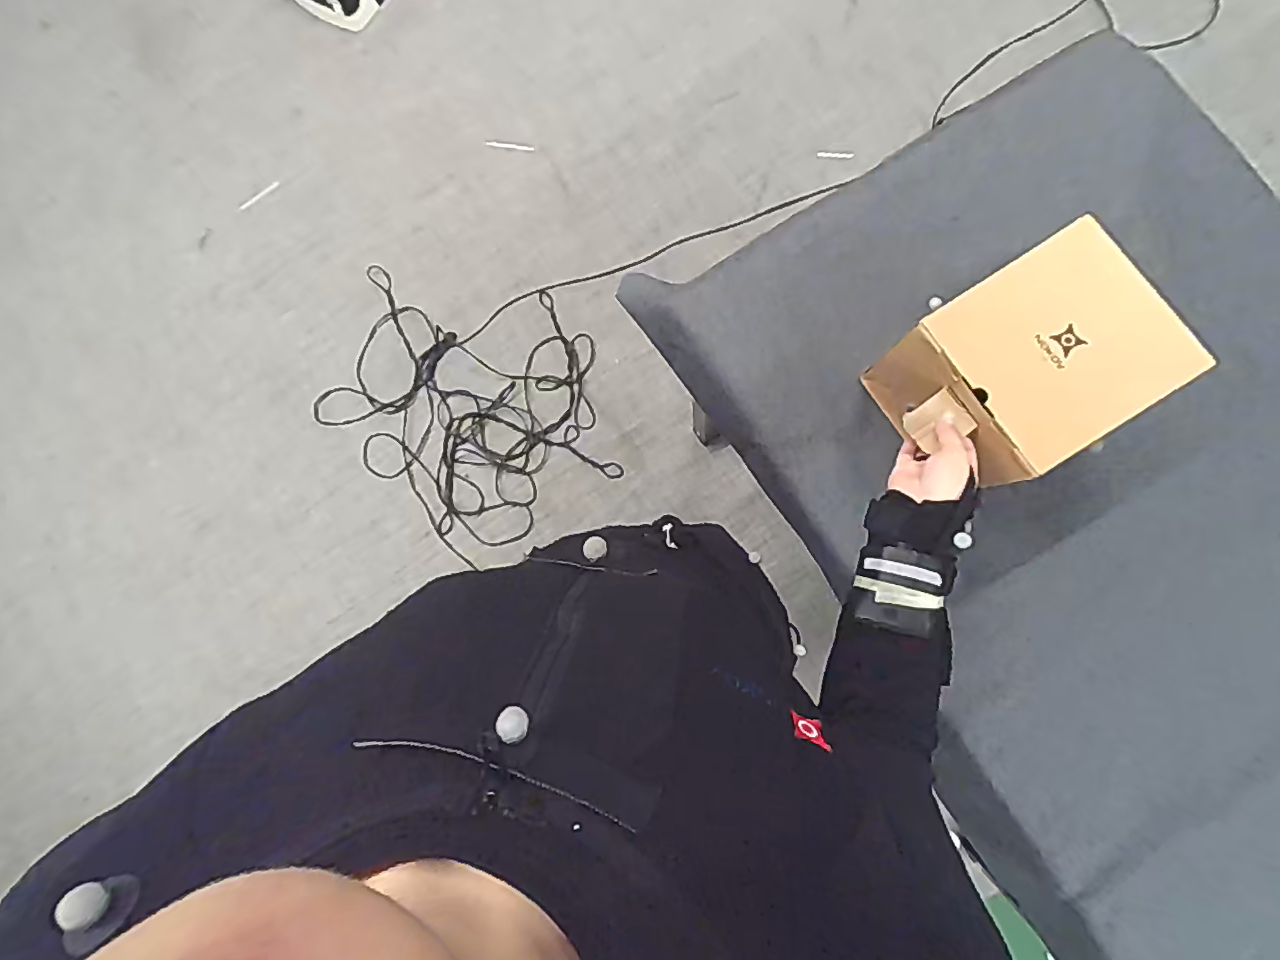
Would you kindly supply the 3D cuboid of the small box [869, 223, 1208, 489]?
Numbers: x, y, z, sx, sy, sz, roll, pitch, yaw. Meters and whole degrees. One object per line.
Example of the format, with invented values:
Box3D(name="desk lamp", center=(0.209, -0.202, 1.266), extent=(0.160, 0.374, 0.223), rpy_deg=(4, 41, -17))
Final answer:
Box3D(name="small box", center=(0.368, -0.106, 0.542), extent=(0.179, 0.176, 0.168), rpy_deg=(-33, 82, 2))
